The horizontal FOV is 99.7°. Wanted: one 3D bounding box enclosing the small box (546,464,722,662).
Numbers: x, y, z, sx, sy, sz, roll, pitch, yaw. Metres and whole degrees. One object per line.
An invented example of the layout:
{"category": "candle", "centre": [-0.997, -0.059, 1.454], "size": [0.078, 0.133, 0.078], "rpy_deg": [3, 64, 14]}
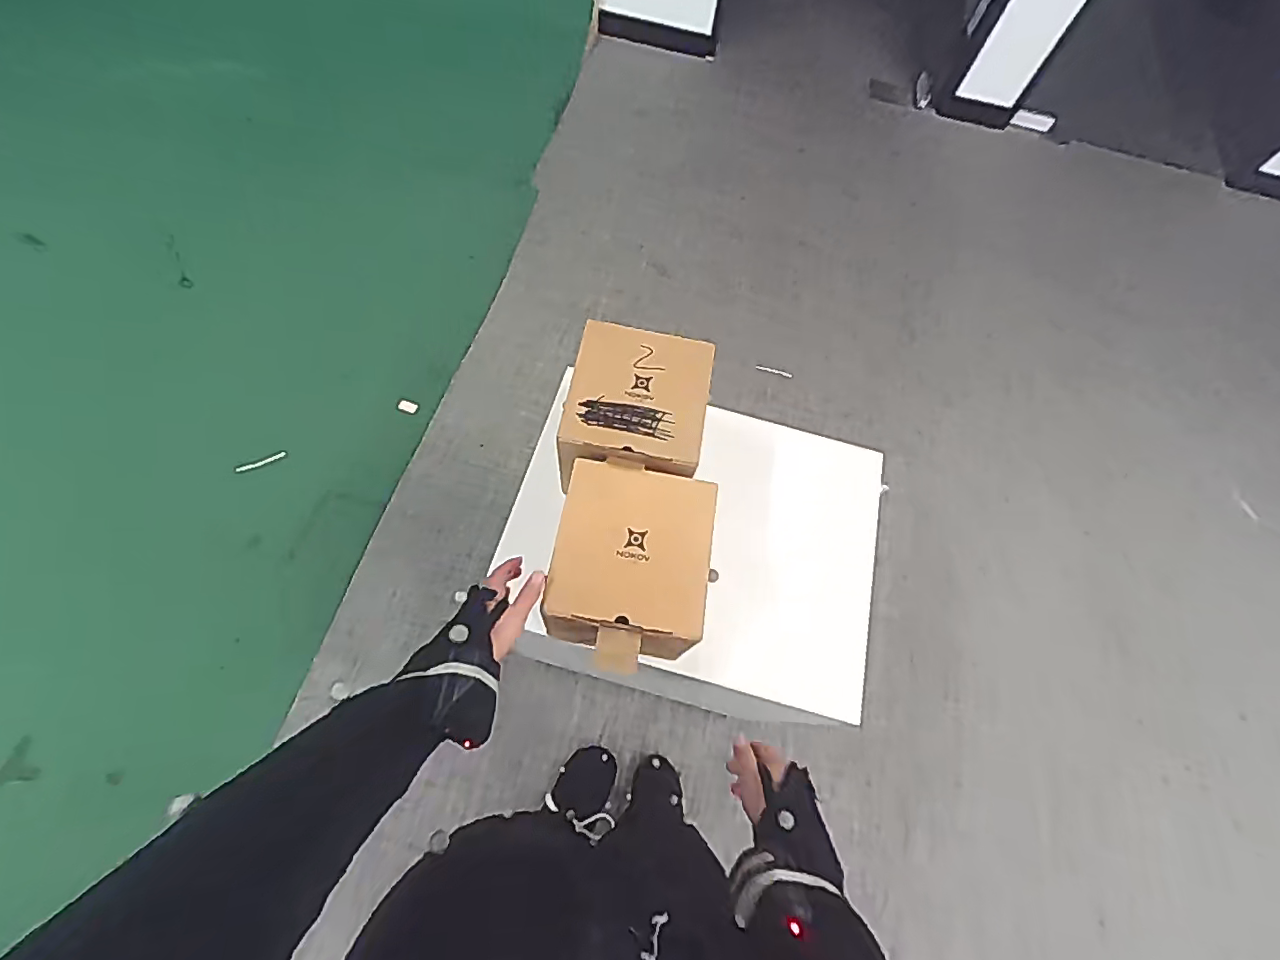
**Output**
{"category": "small box", "centre": [-0.010, 0.106, 0.640], "size": [0.168, 0.176, 0.179], "rpy_deg": [10, 65, -2]}
